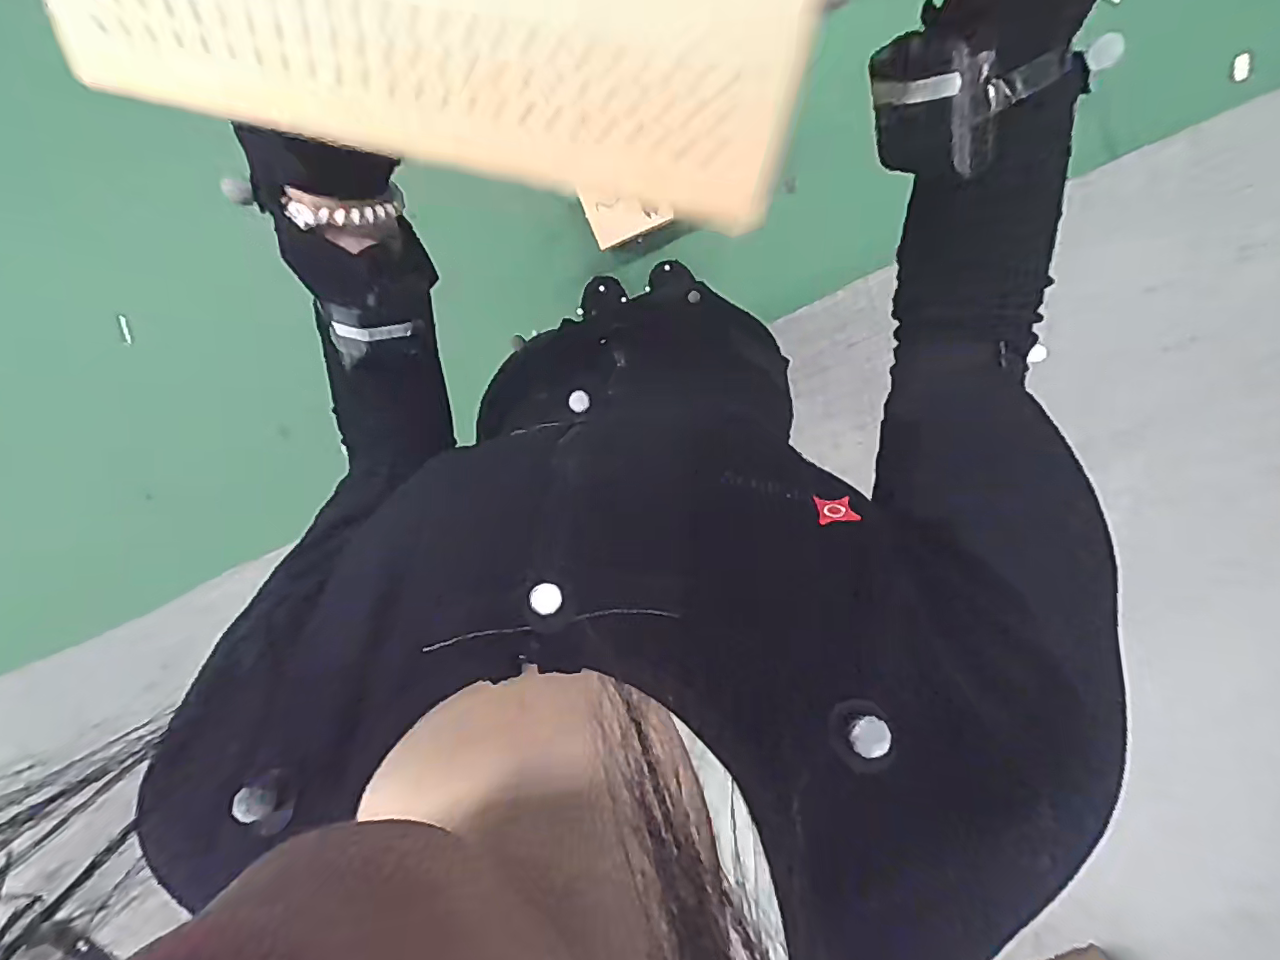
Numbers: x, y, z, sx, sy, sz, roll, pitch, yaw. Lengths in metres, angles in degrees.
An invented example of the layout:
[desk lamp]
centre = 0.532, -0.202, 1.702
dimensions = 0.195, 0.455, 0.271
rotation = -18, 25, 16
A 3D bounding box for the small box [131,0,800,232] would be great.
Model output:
[small box]
centre = -0.031, -0.193, 0.156
dimensions = 0.179, 0.168, 0.176
rotation = 14, 134, 0
